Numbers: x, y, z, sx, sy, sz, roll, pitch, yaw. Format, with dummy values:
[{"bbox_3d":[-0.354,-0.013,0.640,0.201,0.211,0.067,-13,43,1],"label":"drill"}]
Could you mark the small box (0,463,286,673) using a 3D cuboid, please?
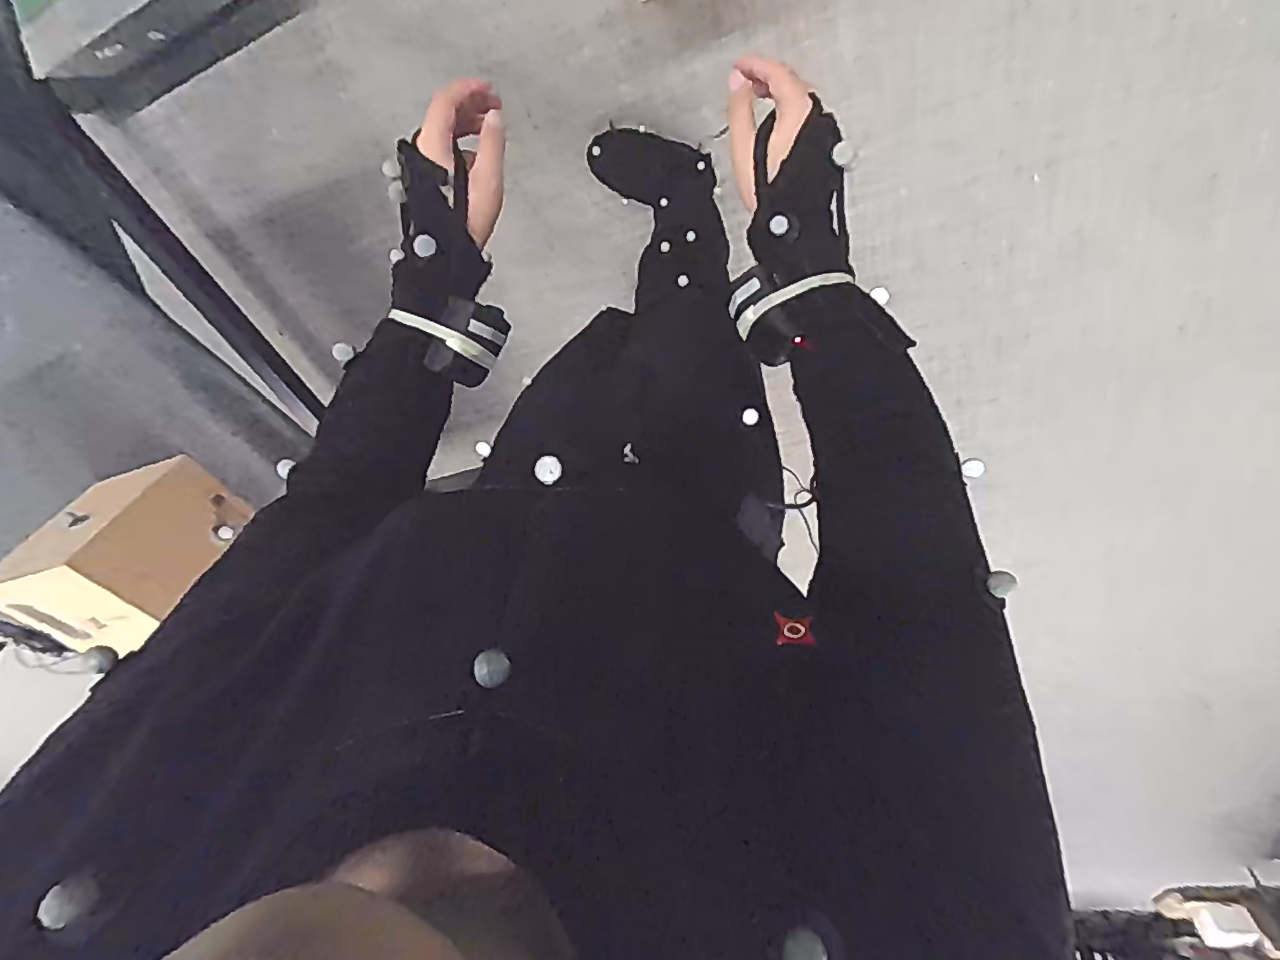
[{"bbox_3d":[-0.578,0.104,0.642,0.179,0.176,0.168,-13,129,18],"label":"small box"}]
